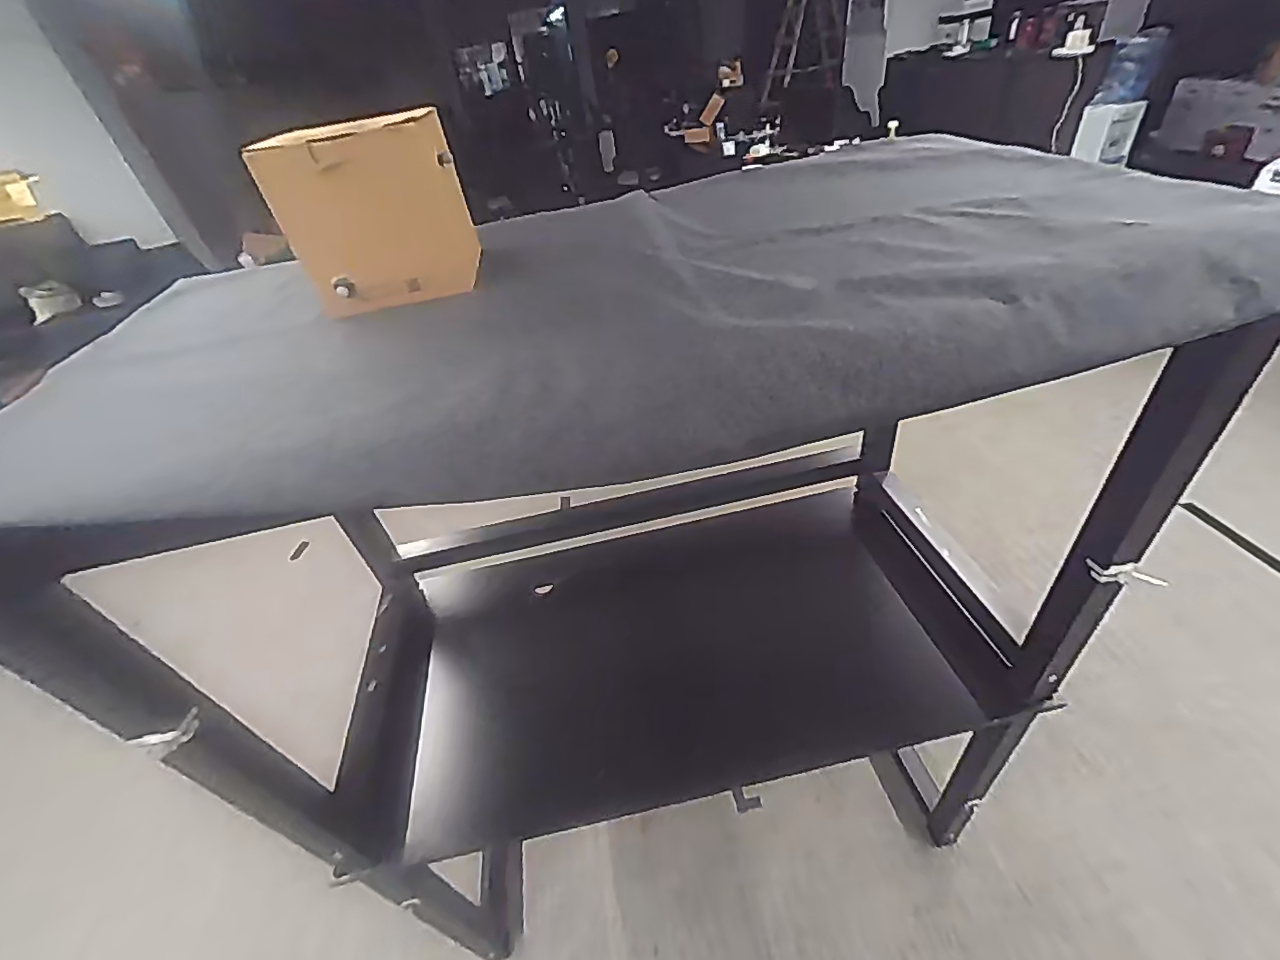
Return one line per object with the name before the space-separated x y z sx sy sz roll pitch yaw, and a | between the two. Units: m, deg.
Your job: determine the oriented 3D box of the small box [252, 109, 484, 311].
small box | -0.289 -0.309 0.627 0.168 0.176 0.179 -12 38 -2
